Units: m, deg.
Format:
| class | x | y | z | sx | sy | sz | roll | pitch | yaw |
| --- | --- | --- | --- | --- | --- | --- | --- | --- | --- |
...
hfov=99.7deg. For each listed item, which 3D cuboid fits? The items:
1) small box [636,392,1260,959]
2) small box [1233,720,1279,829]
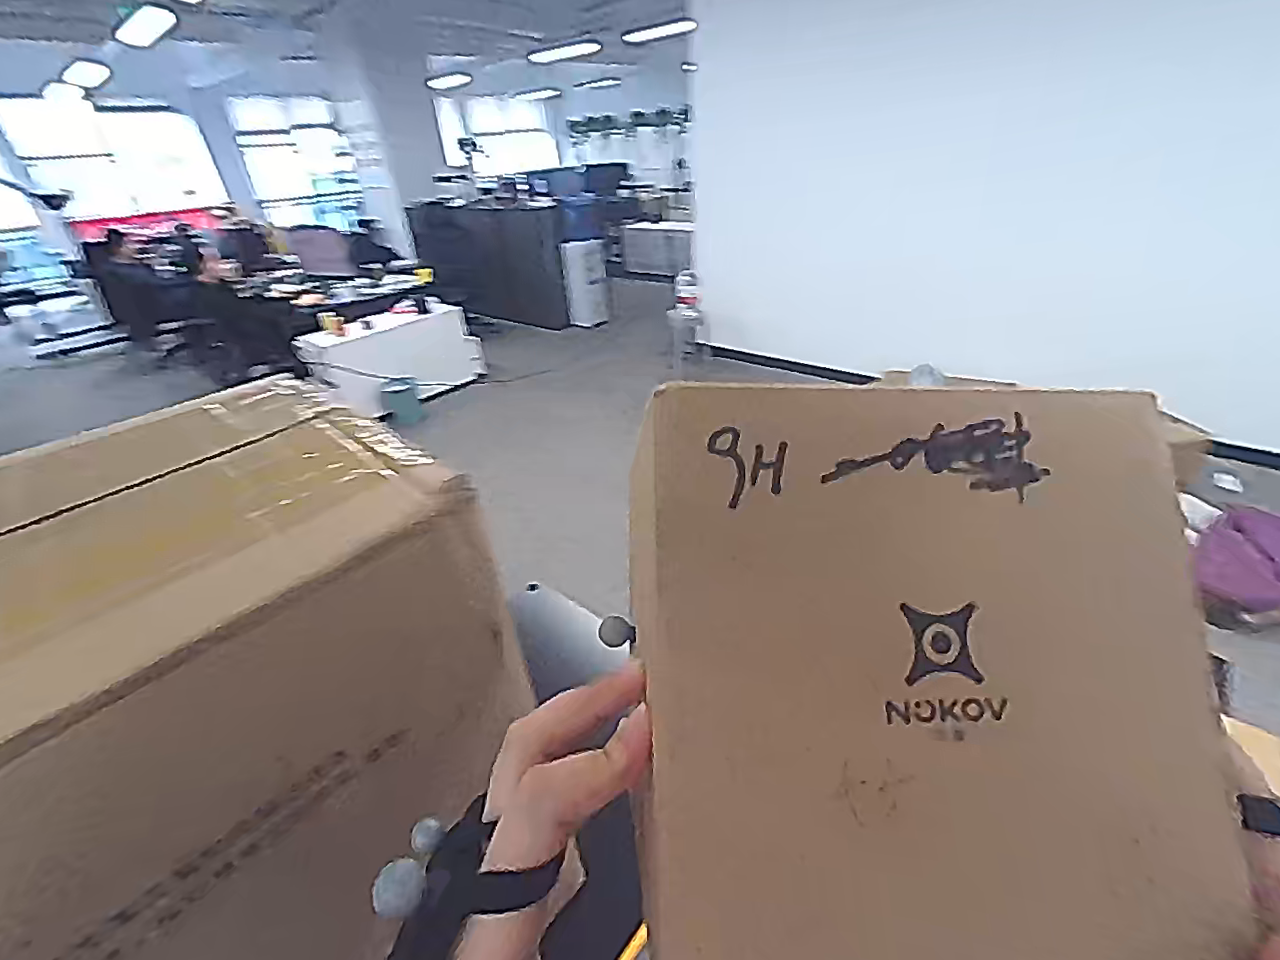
| class | x | y | z | sx | sy | sz | roll | pitch | yaw |
| --- | --- | --- | --- | --- | --- | --- | --- | --- | --- |
| small box | 0.086 | 0.071 | 0.235 | 0.168 | 0.179 | 0.176 | 1 | -9 | -3 |
| small box | 1.308 | 0.653 | 1.241 | 0.168 | 0.176 | 0.179 | 21 | 40 | 37 |
